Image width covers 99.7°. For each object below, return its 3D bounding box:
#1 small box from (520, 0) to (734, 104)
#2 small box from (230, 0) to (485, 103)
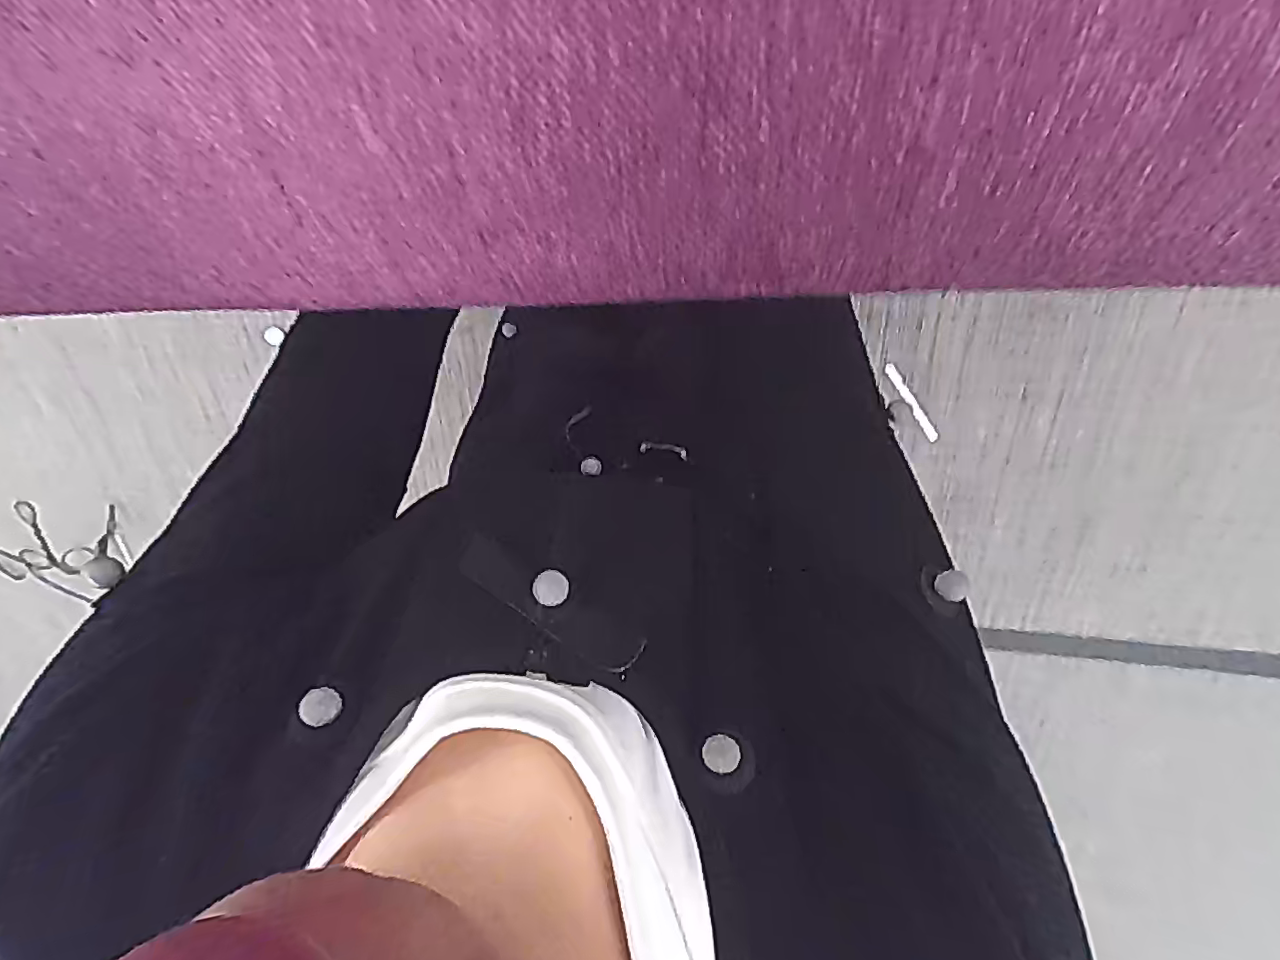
[{"bbox_3d":[-0.003,-0.452,0.486,0.179,0.176,0.168,2,117,6],"label":"small box"},{"bbox_3d":[-0.266,-0.480,0.522,0.179,0.176,0.168,1,117,9],"label":"small box"}]
